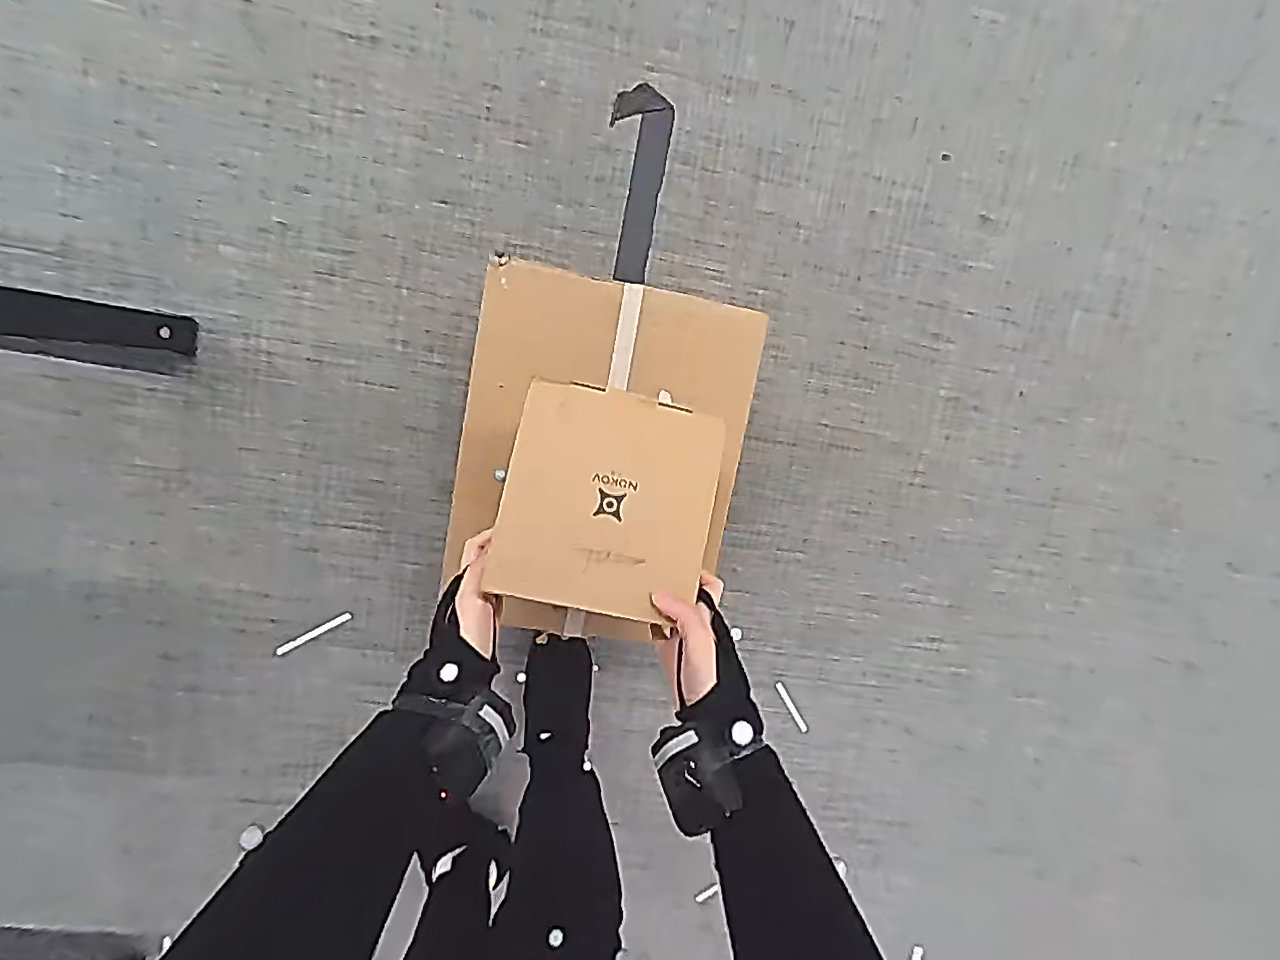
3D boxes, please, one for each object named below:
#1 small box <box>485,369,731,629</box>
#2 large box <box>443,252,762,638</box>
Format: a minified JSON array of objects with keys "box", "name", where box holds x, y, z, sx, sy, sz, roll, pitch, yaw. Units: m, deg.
[{"box":[-0.032,0.023,0.501,0.168,0.176,0.179,13,82,-7],"name":"small box"},{"box":[-0.059,-0.043,0.759,0.320,0.320,0.408,10,97,-8],"name":"large box"}]
